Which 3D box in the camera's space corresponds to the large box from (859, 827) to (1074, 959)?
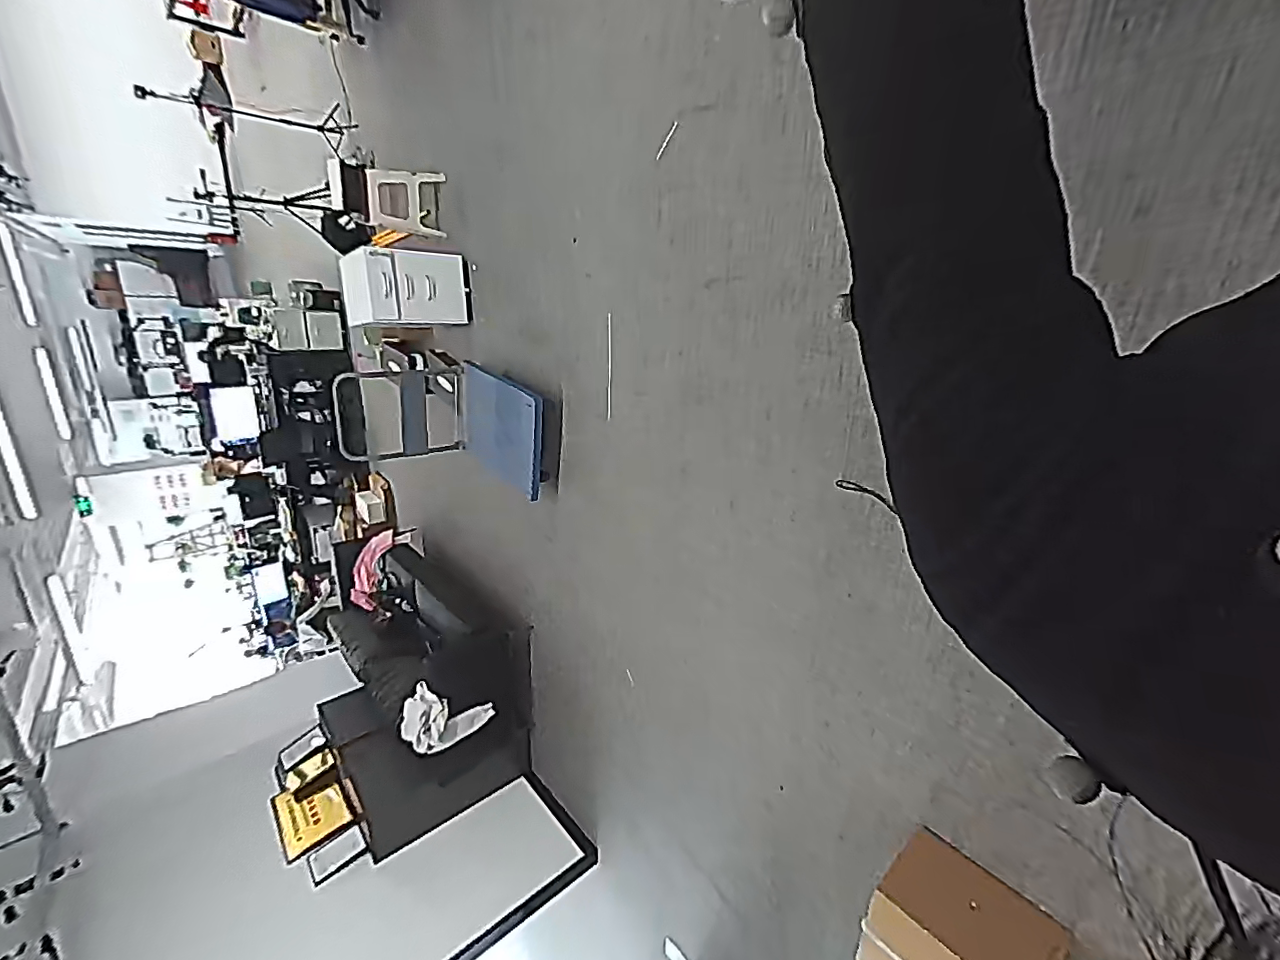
[{"bbox_3d":[0.893,1.296,1.507,0.408,0.320,0.320,22,117,43],"label":"large box"}]
